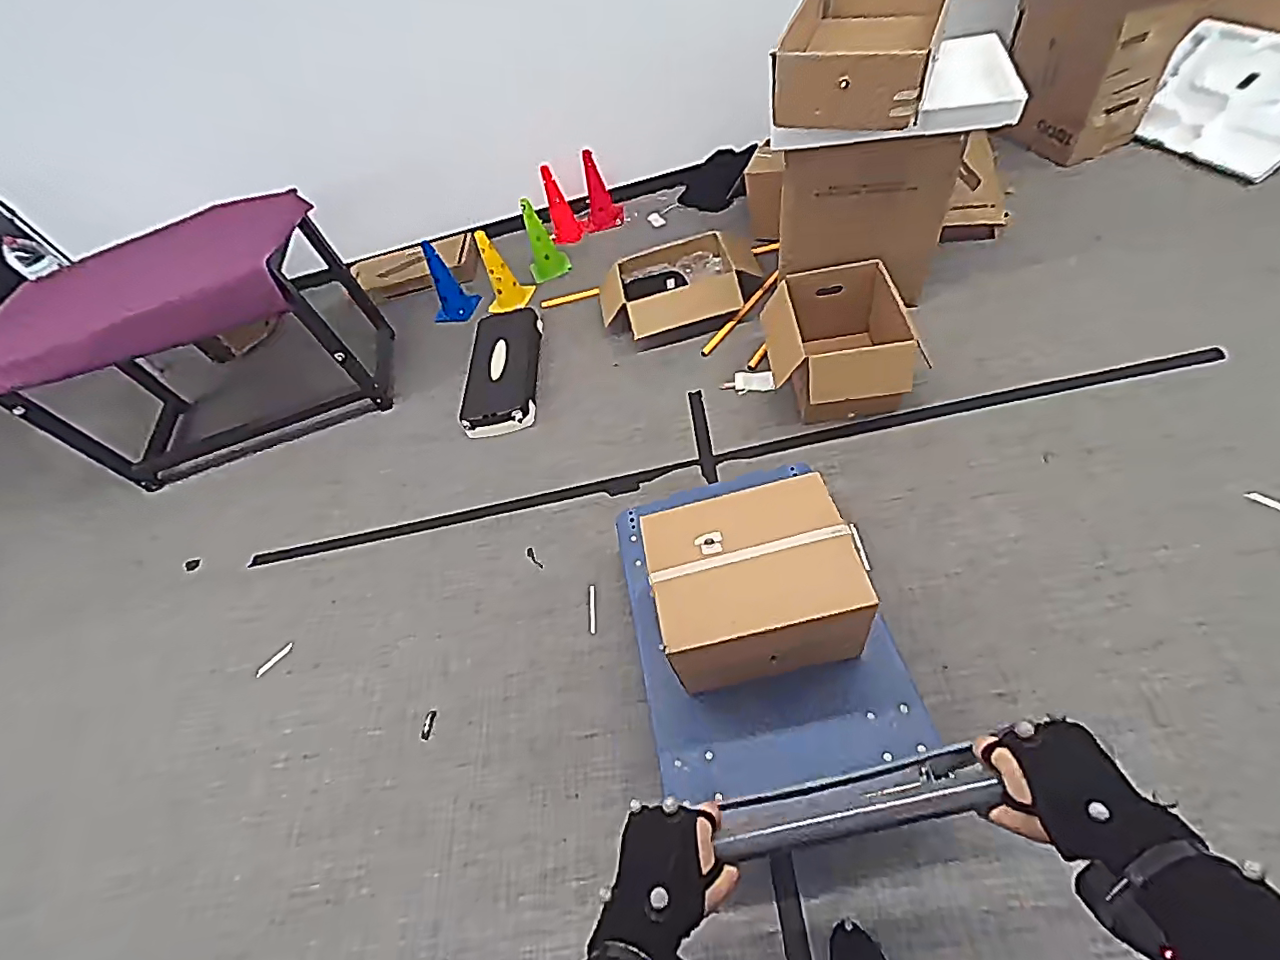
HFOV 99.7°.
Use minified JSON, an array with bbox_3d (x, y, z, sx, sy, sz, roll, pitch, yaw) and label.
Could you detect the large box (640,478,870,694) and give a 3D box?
[{"bbox_3d":[0.250,0.251,1.227,0.408,0.320,0.320,-16,52,5],"label":"large box"}]
